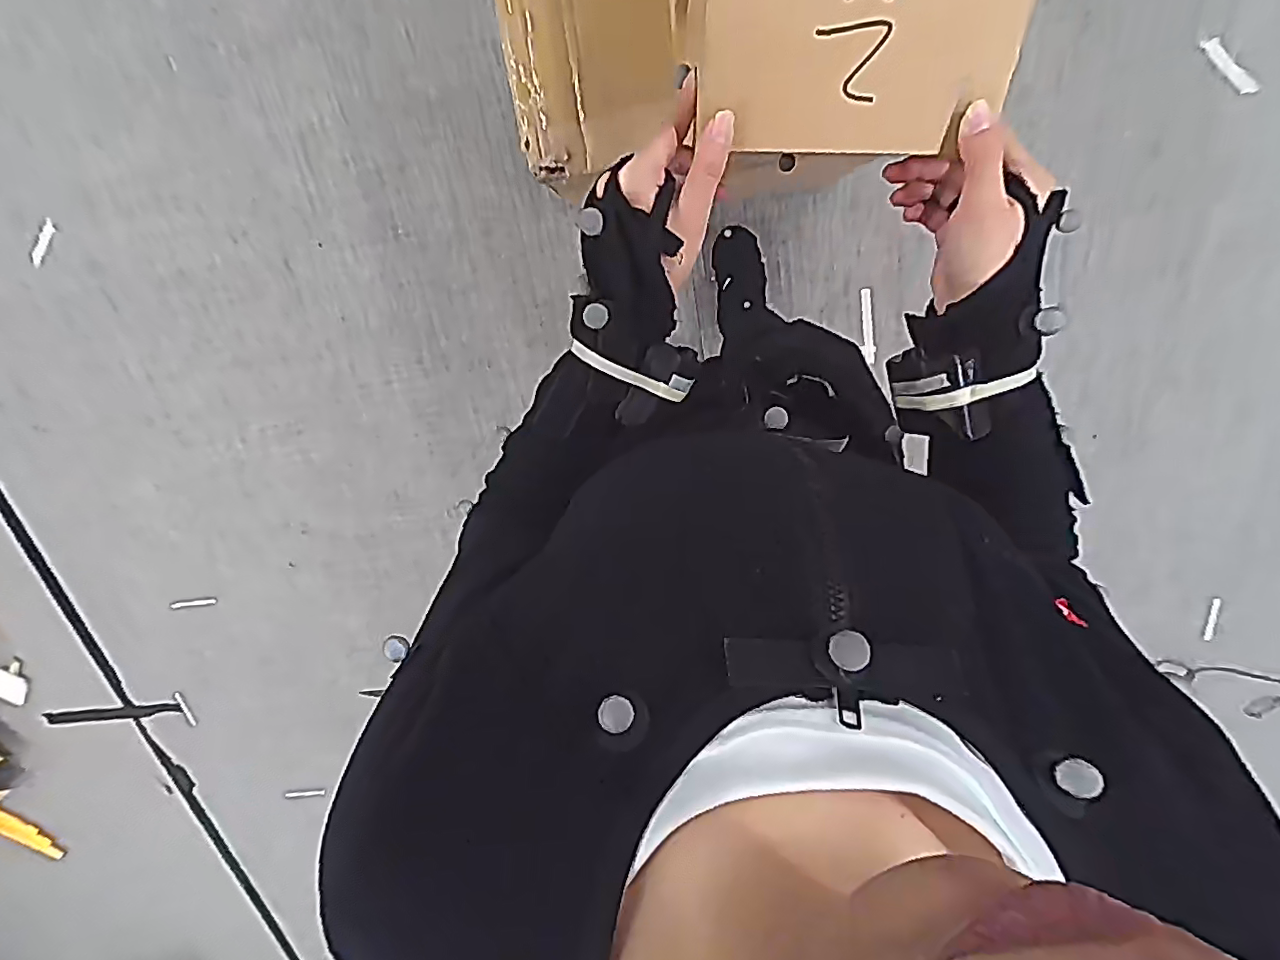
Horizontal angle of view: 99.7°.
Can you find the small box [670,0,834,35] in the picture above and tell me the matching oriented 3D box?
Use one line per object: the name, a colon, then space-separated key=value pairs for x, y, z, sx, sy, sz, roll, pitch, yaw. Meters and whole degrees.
small box: x=0.107 y=-0.526 z=0.470 sx=0.179 sy=0.176 sz=0.168 roll=-6 pitch=111 yaw=5
